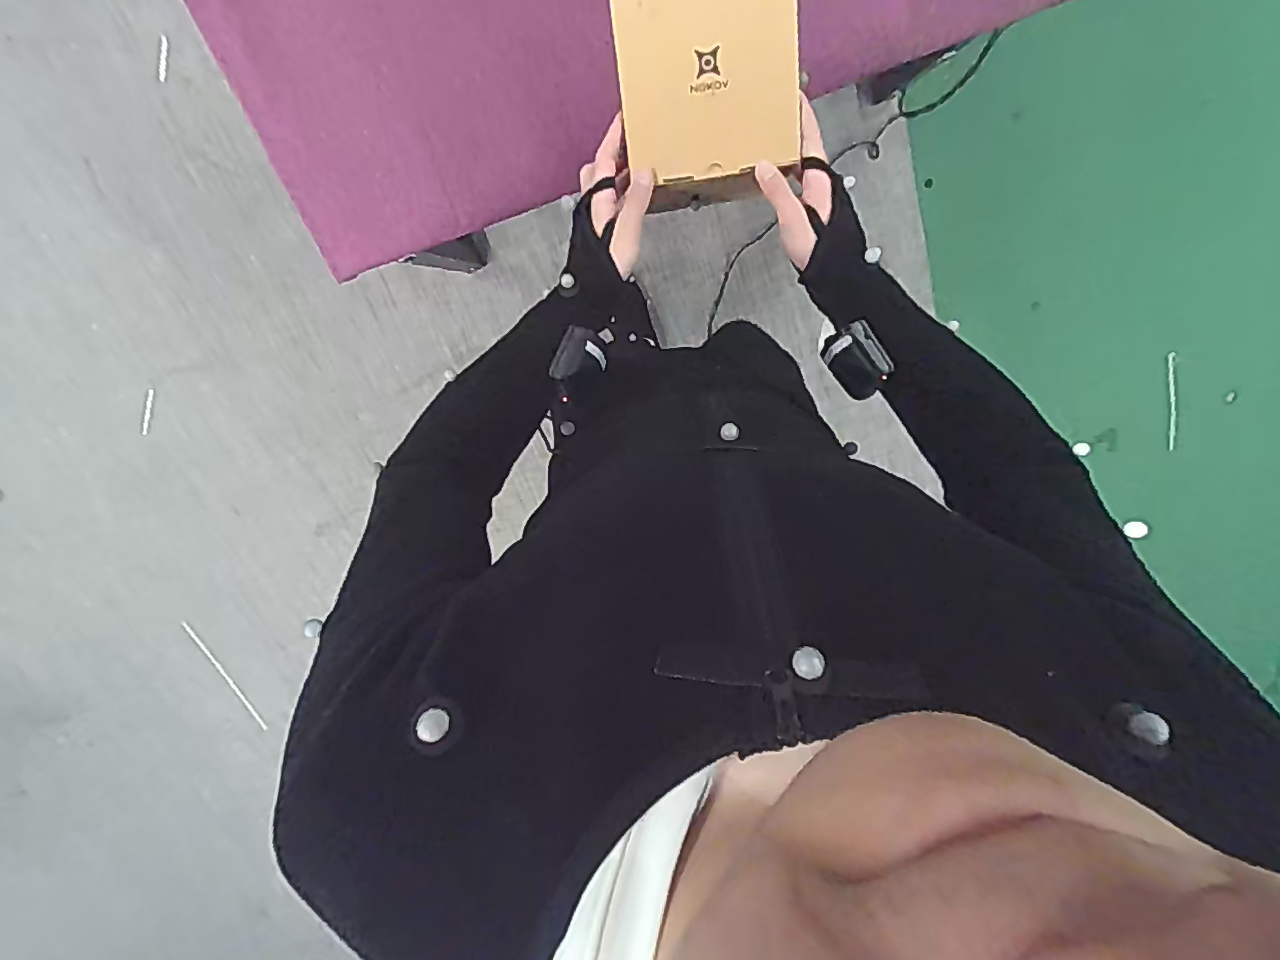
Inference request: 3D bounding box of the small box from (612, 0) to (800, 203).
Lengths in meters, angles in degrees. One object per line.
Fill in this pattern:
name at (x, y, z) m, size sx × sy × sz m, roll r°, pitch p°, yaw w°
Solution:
small box at (0.063, -0.408, 0.566) m, size 0.168 × 0.176 × 0.179 m, roll -7°, pitch 110°, yaw 4°
